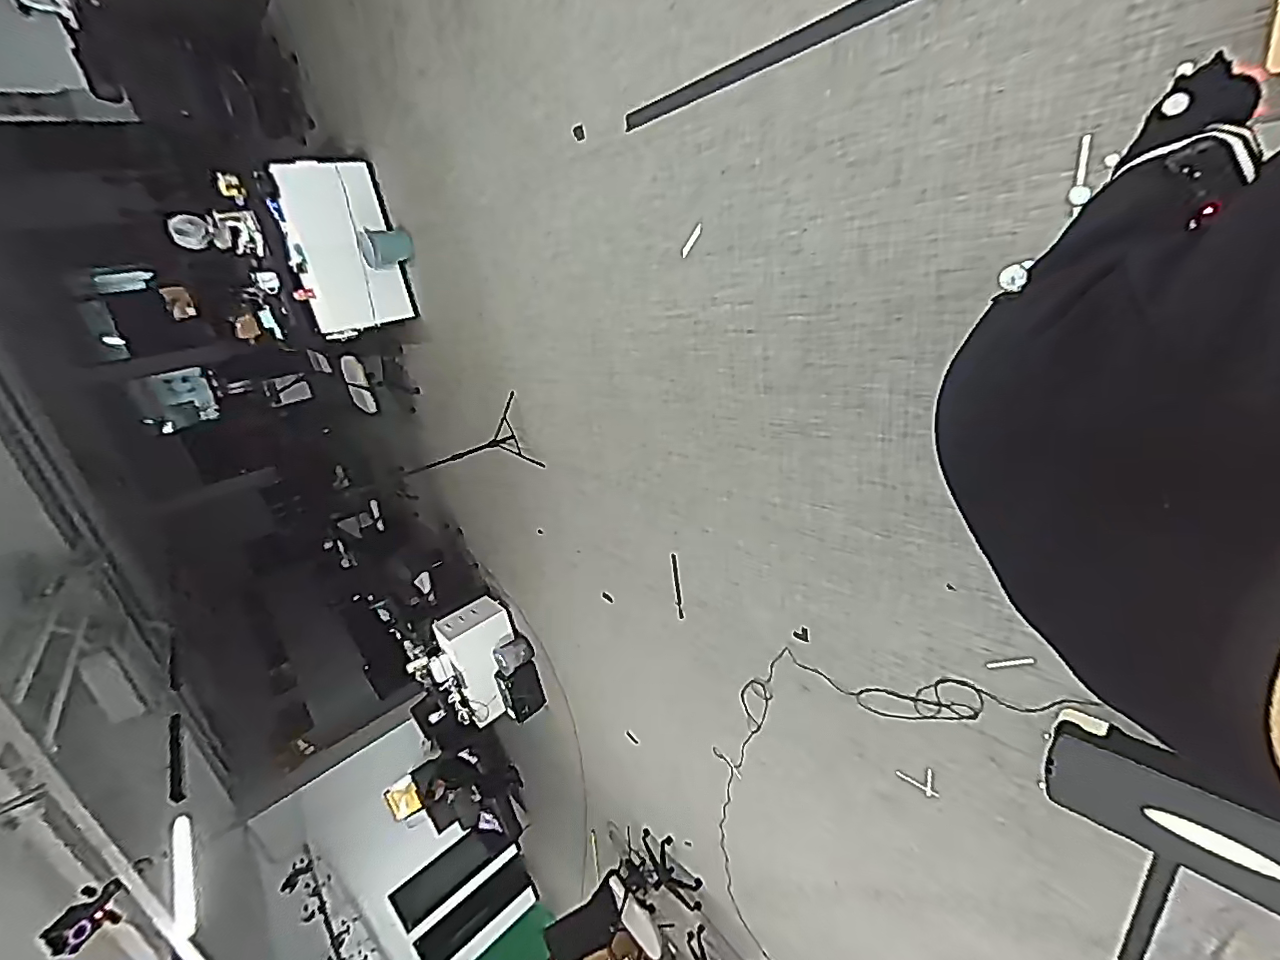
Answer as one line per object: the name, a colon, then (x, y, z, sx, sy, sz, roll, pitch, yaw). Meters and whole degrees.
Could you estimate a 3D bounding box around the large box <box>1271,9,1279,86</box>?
large box: (1.030, -0.696, 0.596, 0.408, 0.320, 0.320, 13, 122, 47)
